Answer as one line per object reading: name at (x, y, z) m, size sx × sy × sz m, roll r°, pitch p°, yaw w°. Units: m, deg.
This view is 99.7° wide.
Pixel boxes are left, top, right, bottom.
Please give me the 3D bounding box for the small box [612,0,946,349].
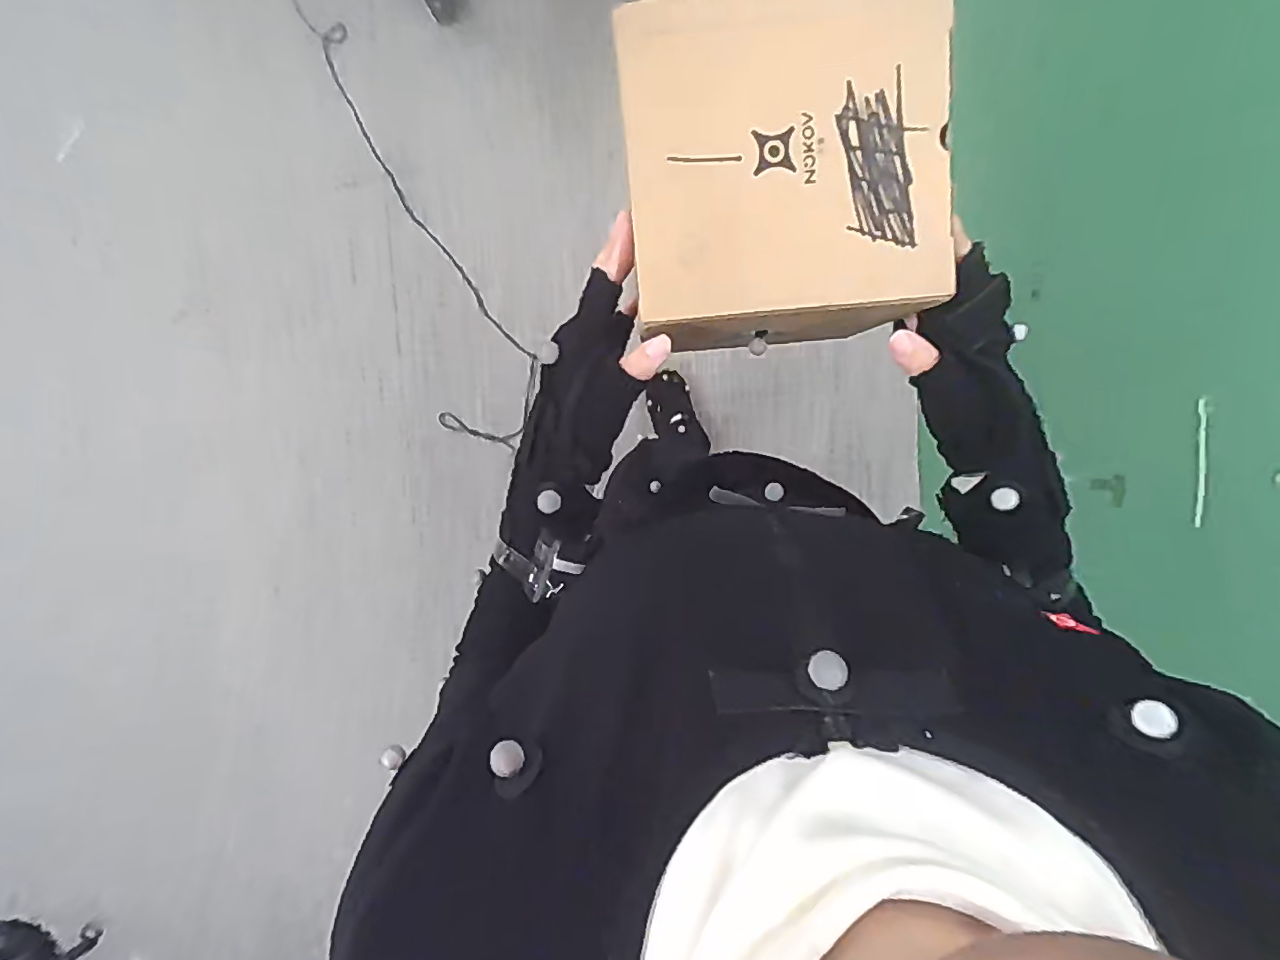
small box at (0.077, -0.190, 0.375) m, size 0.179 × 0.176 × 0.168 m, roll -8°, pitch 98°, yaw 0°
